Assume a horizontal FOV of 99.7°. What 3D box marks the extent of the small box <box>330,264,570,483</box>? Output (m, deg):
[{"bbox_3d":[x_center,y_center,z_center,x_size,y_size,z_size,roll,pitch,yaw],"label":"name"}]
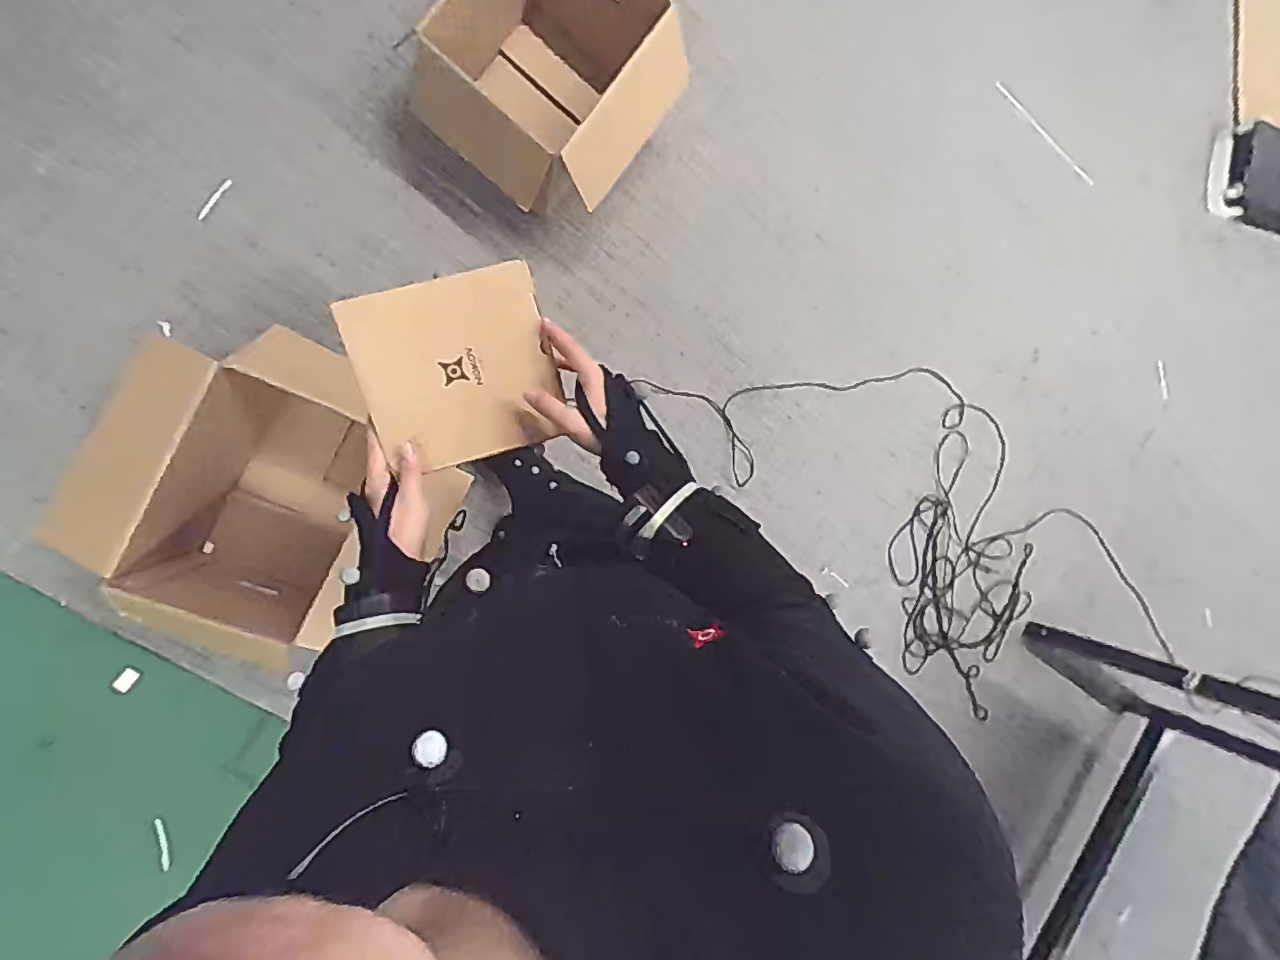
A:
[{"bbox_3d":[-0.180,-0.103,0.565,0.179,0.176,0.168,-16,99,-9],"label":"small box"}]
